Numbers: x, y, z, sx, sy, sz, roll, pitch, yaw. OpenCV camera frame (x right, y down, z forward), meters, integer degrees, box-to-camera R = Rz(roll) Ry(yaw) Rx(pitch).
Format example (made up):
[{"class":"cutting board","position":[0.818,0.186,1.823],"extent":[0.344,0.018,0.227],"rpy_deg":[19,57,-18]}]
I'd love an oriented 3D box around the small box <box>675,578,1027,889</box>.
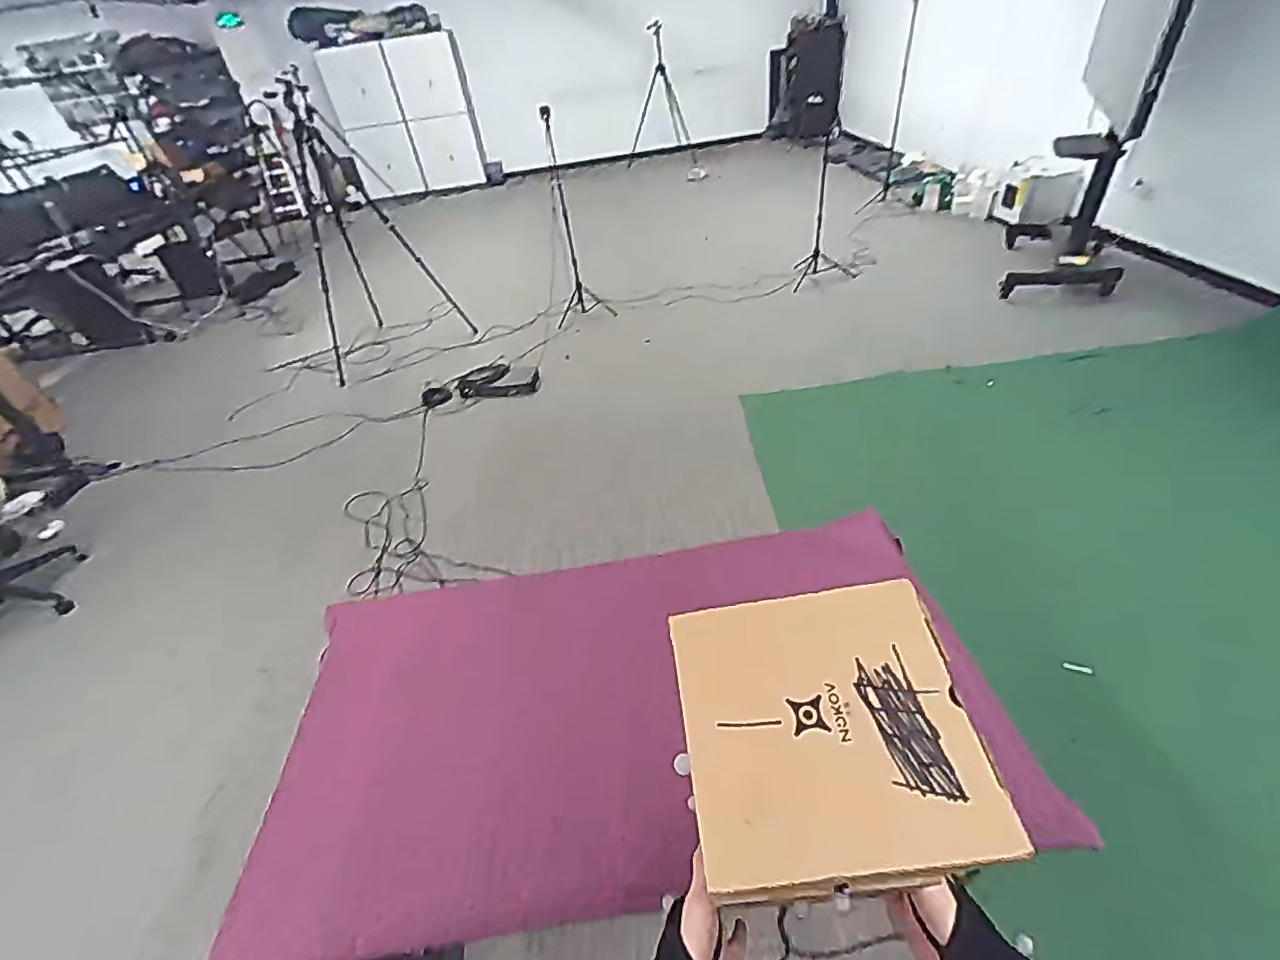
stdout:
[{"class":"small box","position":[0.128,0.194,0.403],"extent":[0.179,0.176,0.168],"rpy_deg":[-10,51,4]}]
